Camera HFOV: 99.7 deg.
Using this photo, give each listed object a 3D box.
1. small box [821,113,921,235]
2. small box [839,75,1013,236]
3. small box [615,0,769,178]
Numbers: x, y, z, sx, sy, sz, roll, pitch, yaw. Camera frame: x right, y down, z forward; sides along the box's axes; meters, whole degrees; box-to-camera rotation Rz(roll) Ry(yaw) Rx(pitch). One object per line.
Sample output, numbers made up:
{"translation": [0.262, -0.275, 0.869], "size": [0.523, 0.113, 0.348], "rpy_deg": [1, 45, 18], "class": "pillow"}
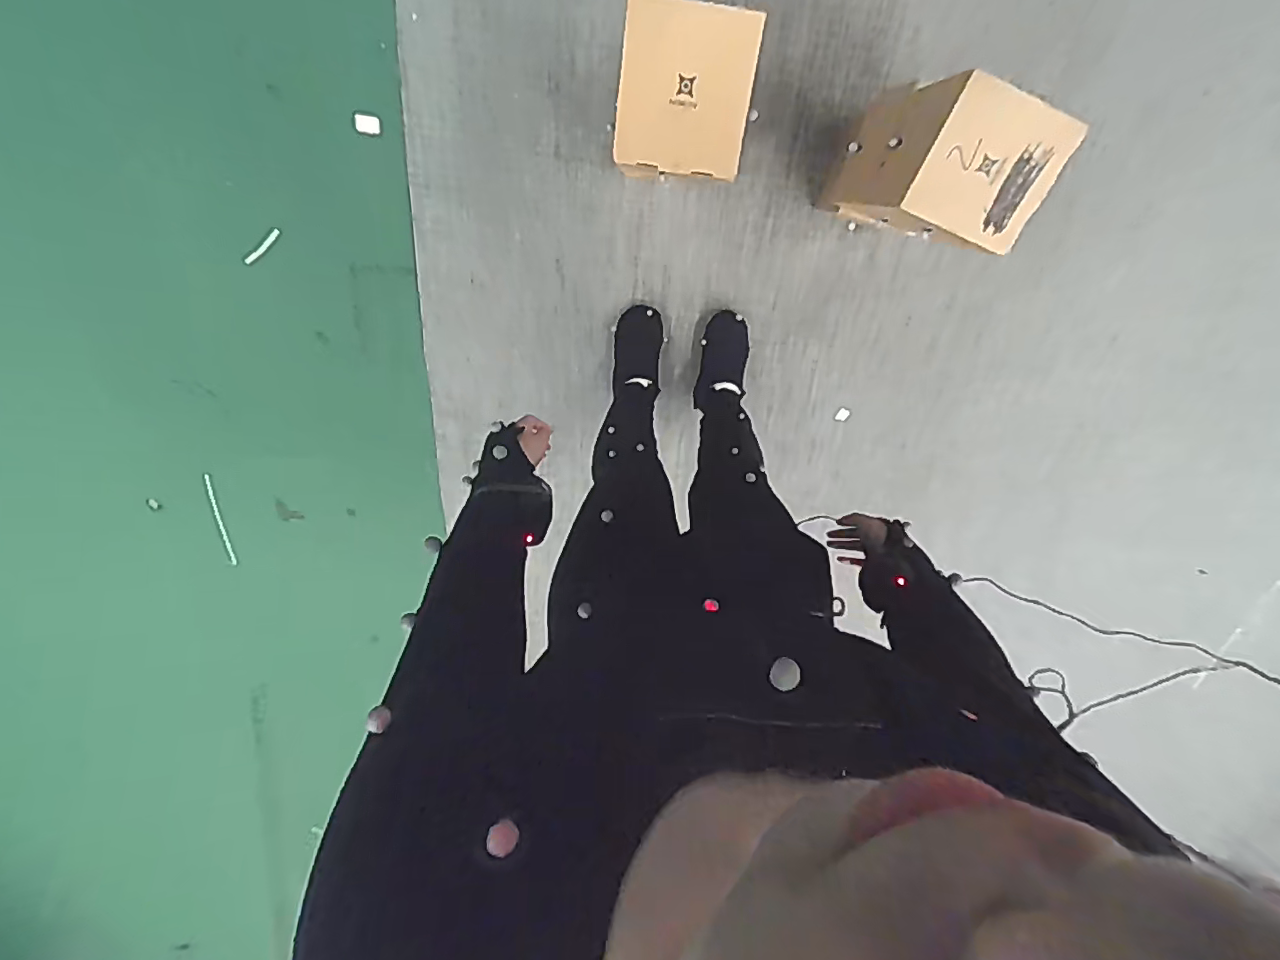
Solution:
{"translation": [0.476, -0.597, 1.053], "size": [0.168, 0.176, 0.179], "rpy_deg": [14, 118, -6], "class": "small box"}
{"translation": [0.457, -0.532, 0.903], "size": [0.168, 0.176, 0.179], "rpy_deg": [17, 118, -8], "class": "small box"}
{"translation": [0.059, -0.520, 0.730], "size": [0.168, 0.176, 0.179], "rpy_deg": [7, 118, -3], "class": "small box"}
